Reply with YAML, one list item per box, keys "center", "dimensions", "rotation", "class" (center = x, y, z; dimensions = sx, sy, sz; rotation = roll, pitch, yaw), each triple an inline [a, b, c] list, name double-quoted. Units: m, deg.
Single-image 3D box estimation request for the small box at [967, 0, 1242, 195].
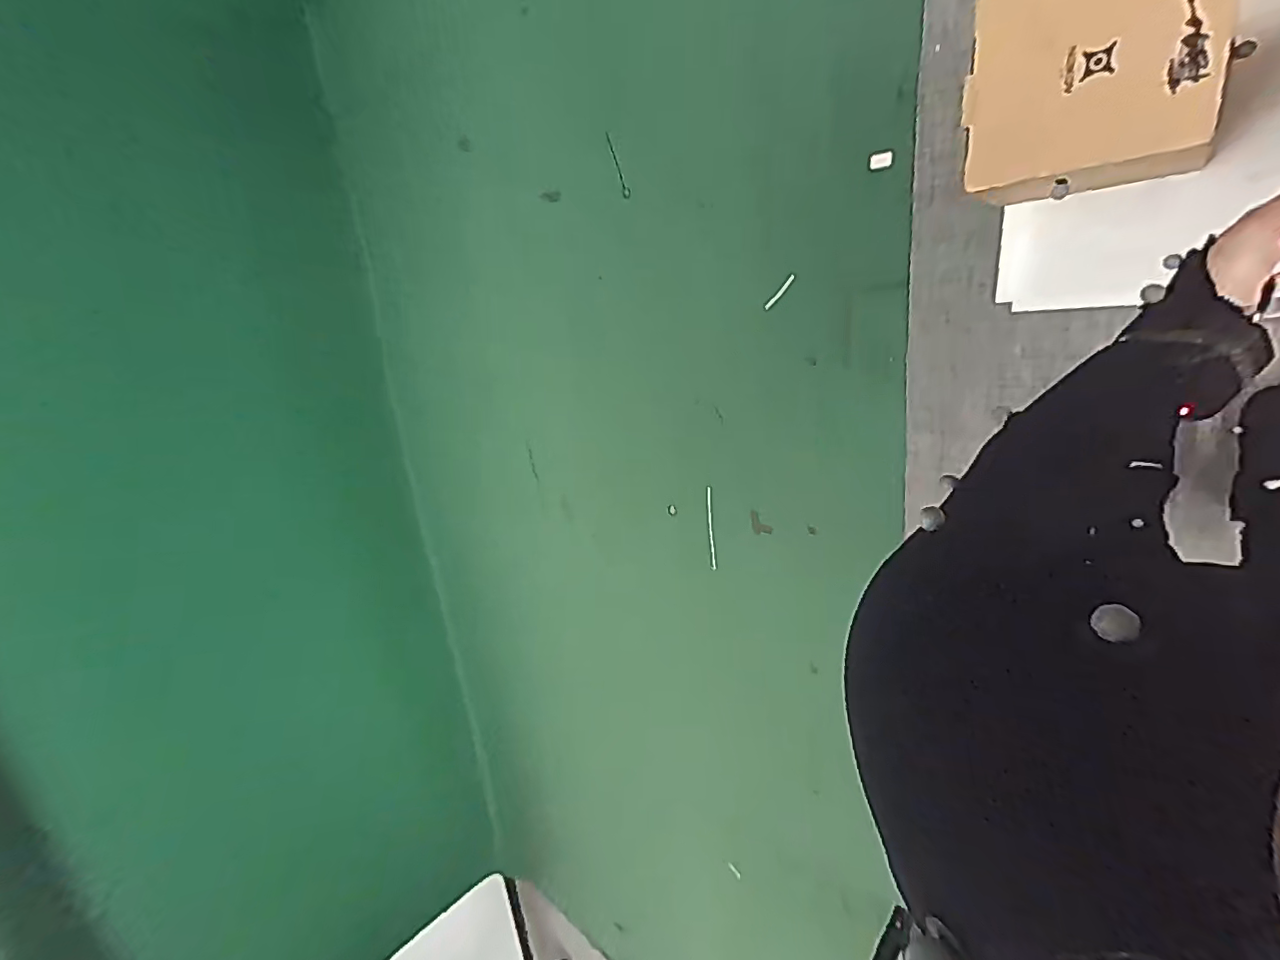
- center: [0.436, -0.384, 0.514]
  dimensions: [0.179, 0.176, 0.168]
  rotation: [9, 112, 41]
  class: "small box"
